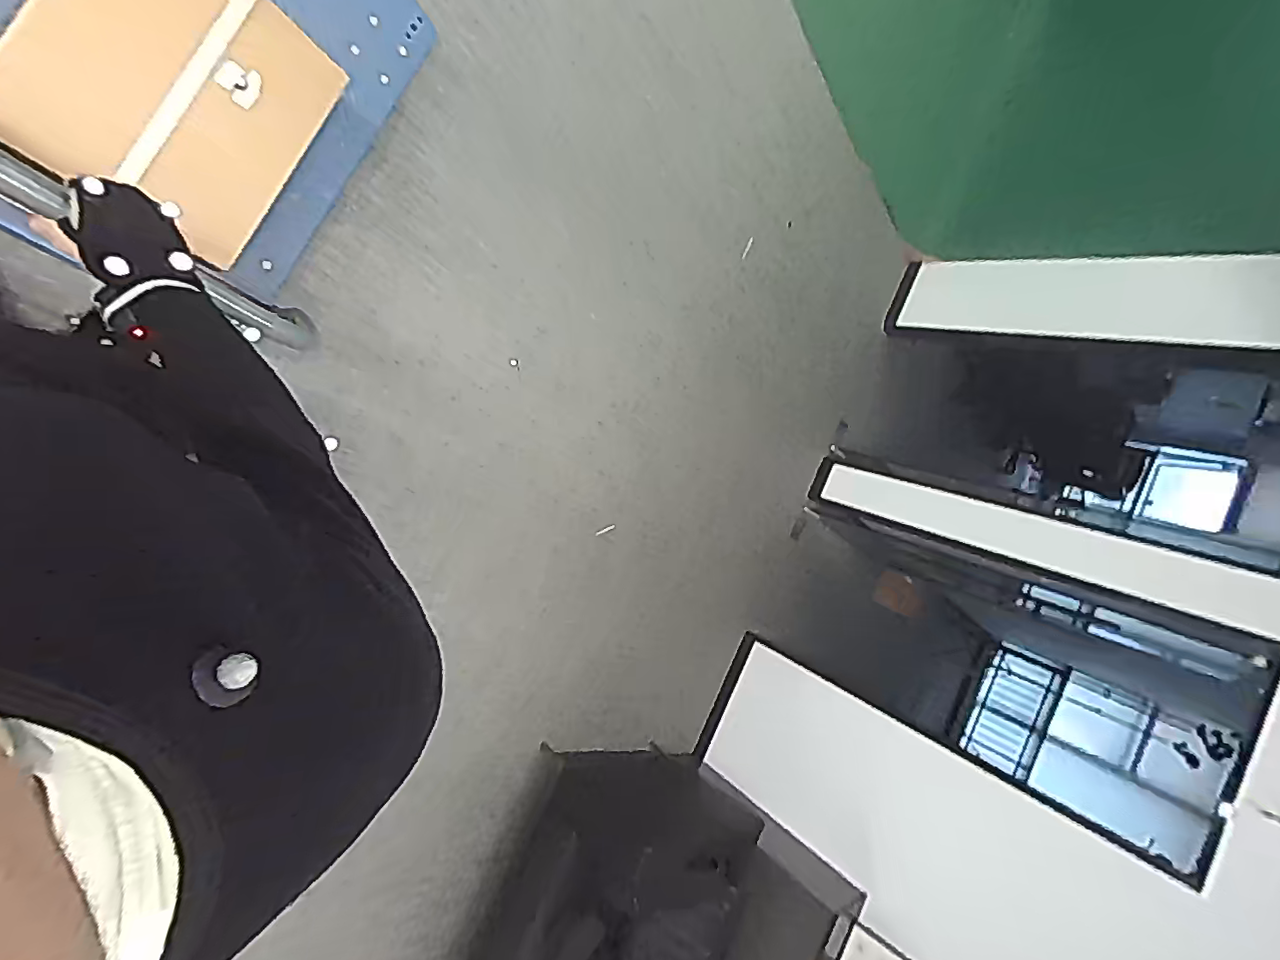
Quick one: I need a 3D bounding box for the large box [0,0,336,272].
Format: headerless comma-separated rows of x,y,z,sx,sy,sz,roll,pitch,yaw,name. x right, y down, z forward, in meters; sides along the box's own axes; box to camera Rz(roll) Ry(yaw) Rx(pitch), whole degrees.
-0.801,-0.618,0.917,0.320,0.320,0.408,33,81,-46,large box
